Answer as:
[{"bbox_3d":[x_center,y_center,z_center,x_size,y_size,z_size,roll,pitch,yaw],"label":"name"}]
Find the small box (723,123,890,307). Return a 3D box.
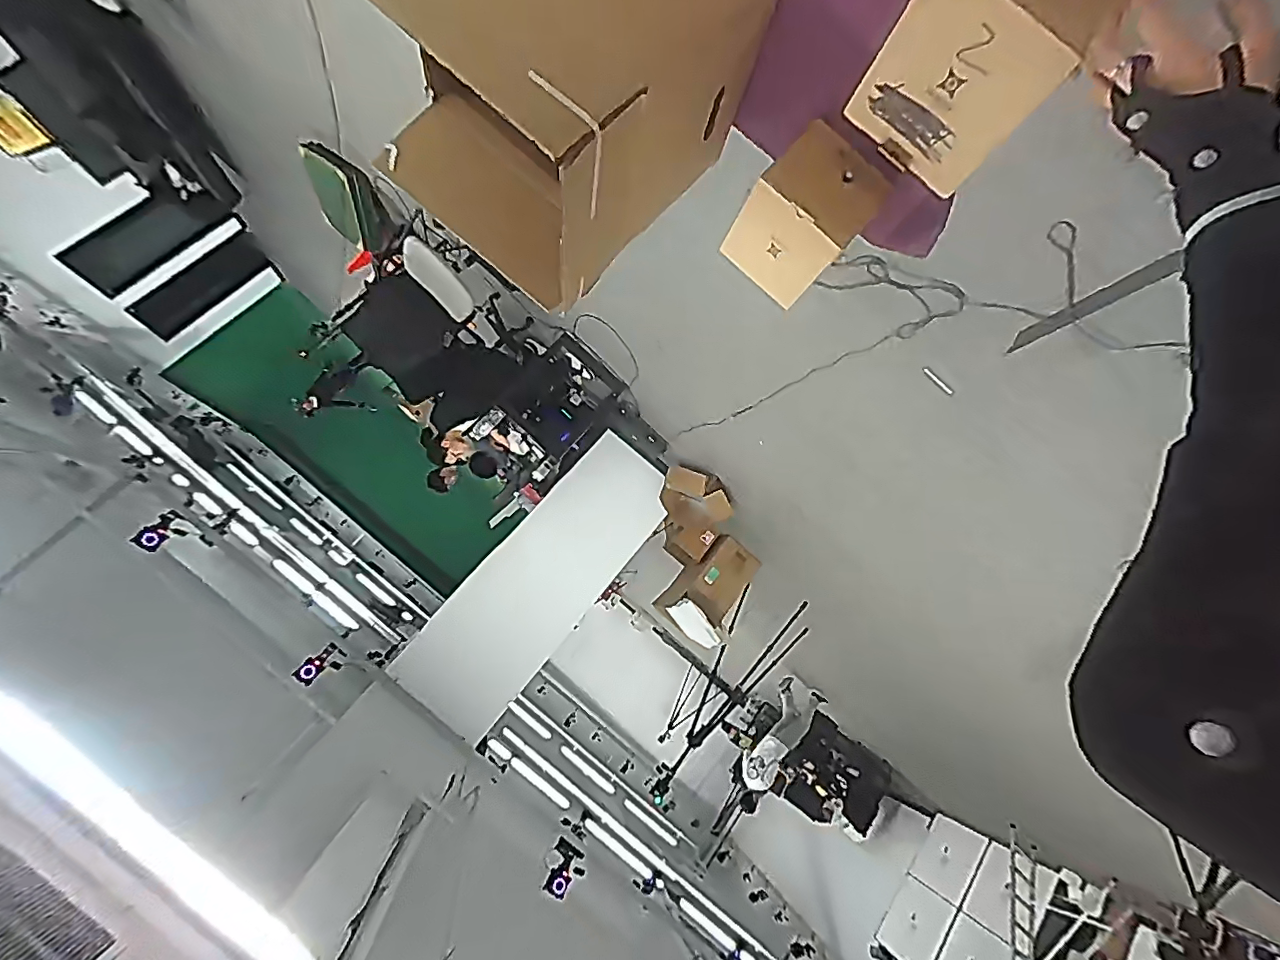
[{"bbox_3d":[0.273,-0.433,0.898,0.168,0.176,0.179,41,162,0],"label":"small box"}]
